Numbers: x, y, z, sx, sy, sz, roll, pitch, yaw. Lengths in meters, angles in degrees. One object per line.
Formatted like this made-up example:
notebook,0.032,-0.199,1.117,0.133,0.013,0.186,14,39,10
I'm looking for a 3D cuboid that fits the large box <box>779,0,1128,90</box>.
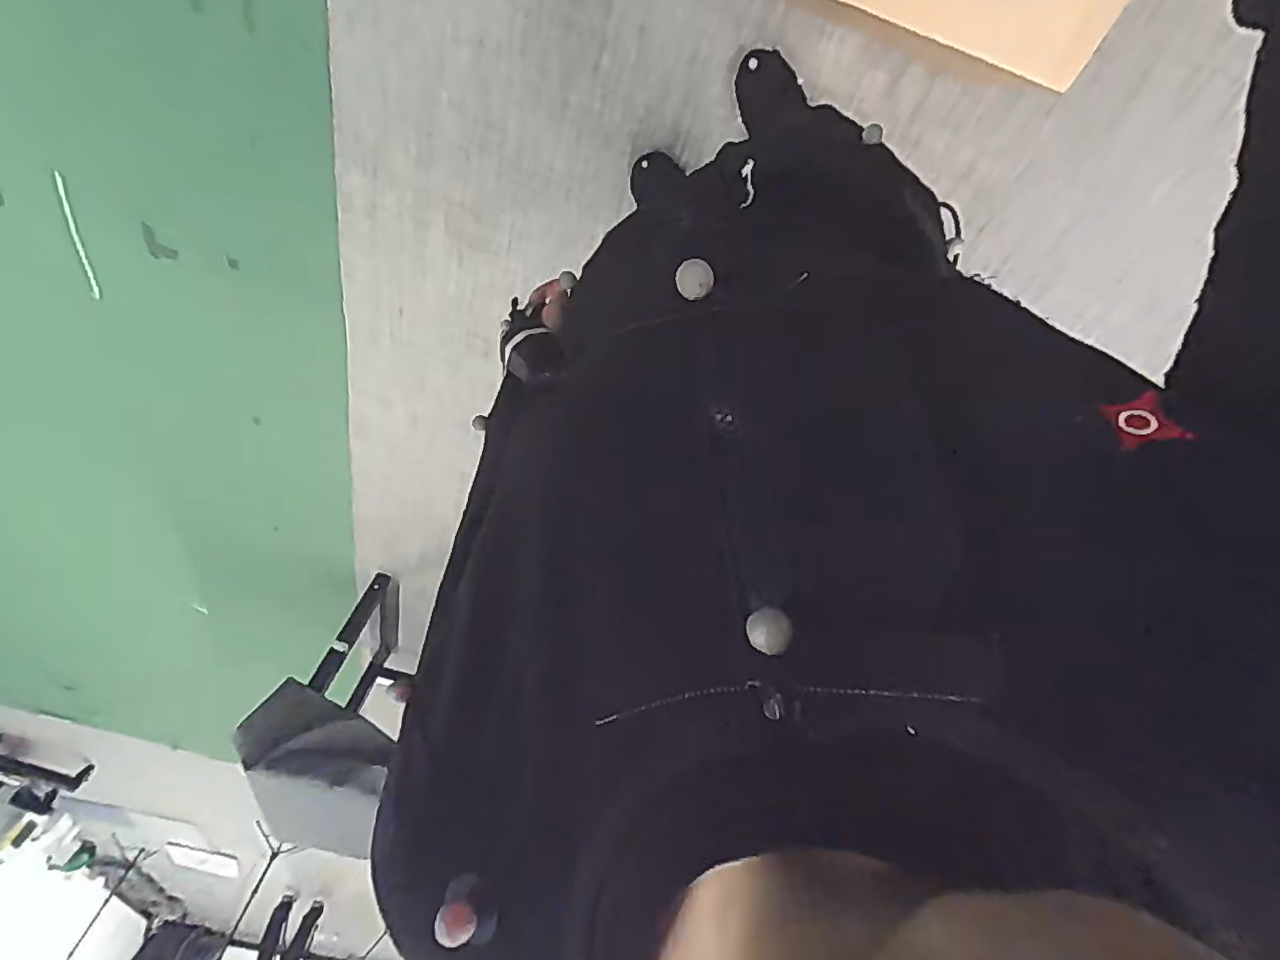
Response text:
large box,0.450,-0.788,0.739,0.408,0.320,0.320,16,130,-7
